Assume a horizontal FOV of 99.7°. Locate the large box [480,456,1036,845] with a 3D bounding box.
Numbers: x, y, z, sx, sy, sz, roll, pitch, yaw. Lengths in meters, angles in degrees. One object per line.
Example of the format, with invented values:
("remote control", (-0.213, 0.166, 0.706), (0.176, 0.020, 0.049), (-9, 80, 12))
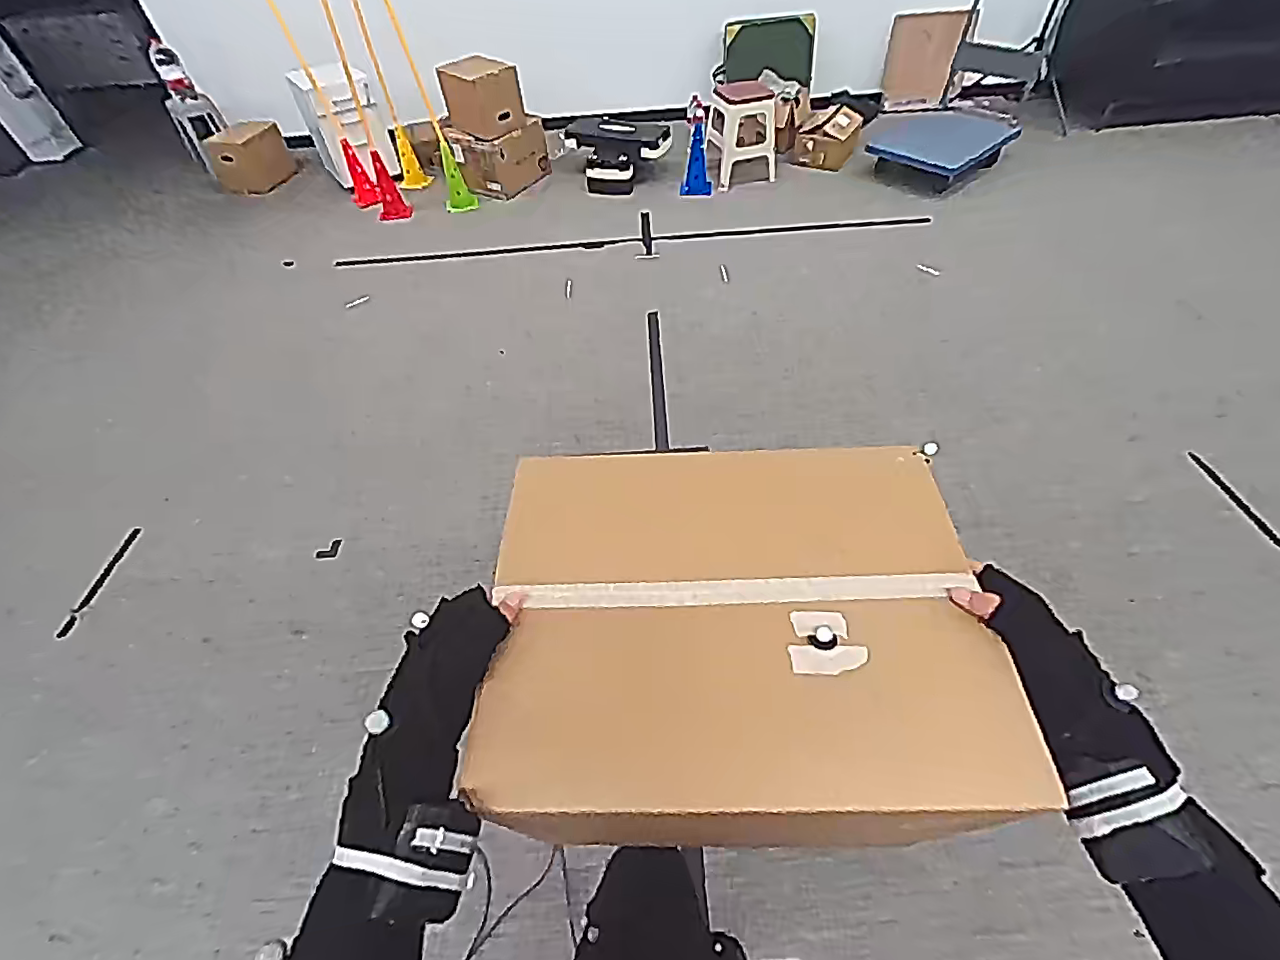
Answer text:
("large box", (0.085, 0.195, 0.588), (0.408, 0.320, 0.320), (-2, 53, 2))
